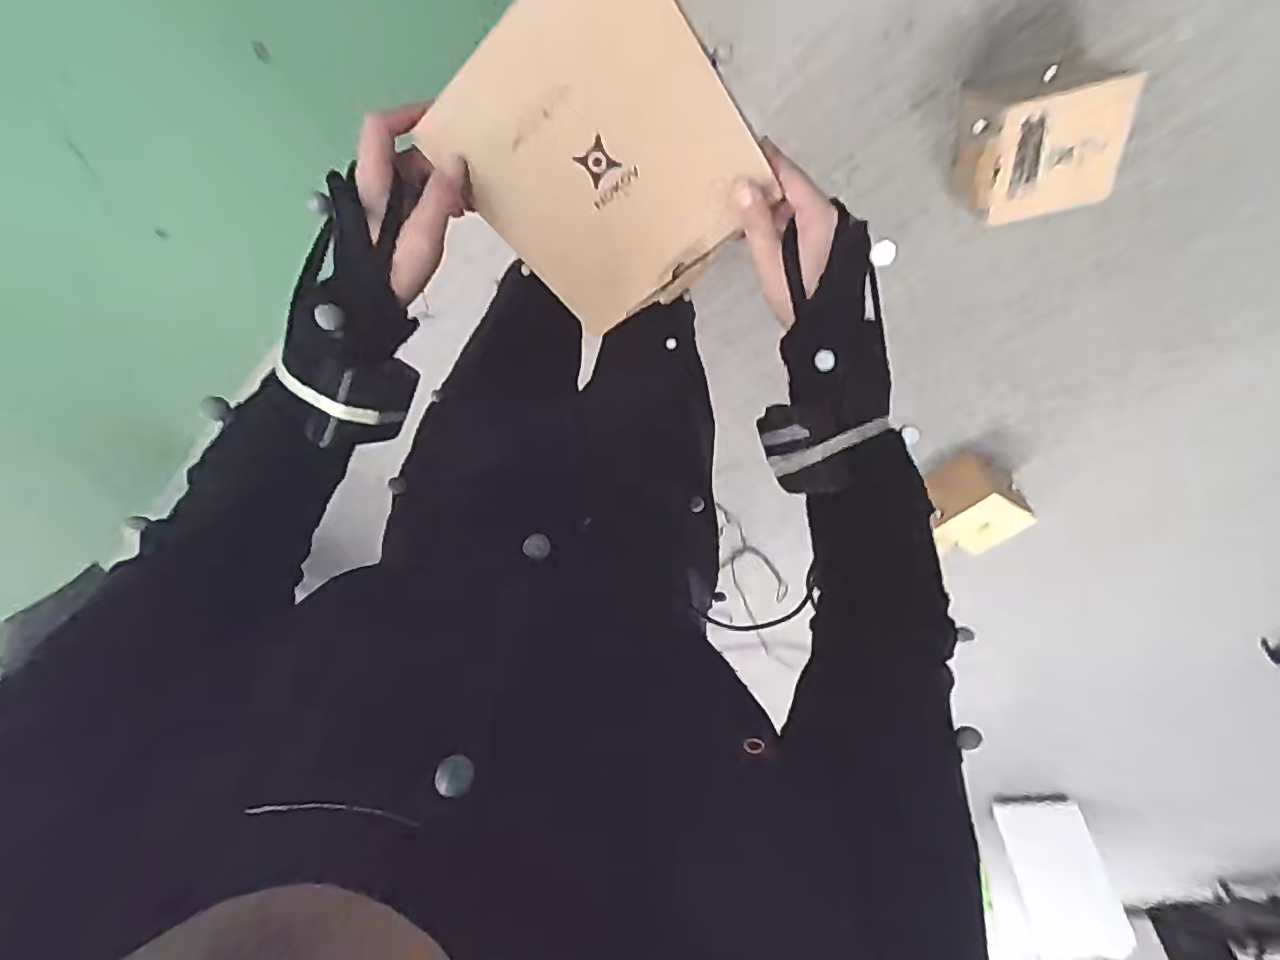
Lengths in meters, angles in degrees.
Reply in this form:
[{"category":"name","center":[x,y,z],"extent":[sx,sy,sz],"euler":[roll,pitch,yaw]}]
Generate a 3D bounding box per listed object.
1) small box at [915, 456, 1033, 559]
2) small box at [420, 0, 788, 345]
[{"category":"small box","center":[0.853,0.069,1.401],"extent":[0.168,0.176,0.179],"euler":[25,132,-17]},{"category":"small box","center":[-0.016,-0.242,0.395],"extent":[0.168,0.176,0.179],"euler":[-30,125,26]}]
